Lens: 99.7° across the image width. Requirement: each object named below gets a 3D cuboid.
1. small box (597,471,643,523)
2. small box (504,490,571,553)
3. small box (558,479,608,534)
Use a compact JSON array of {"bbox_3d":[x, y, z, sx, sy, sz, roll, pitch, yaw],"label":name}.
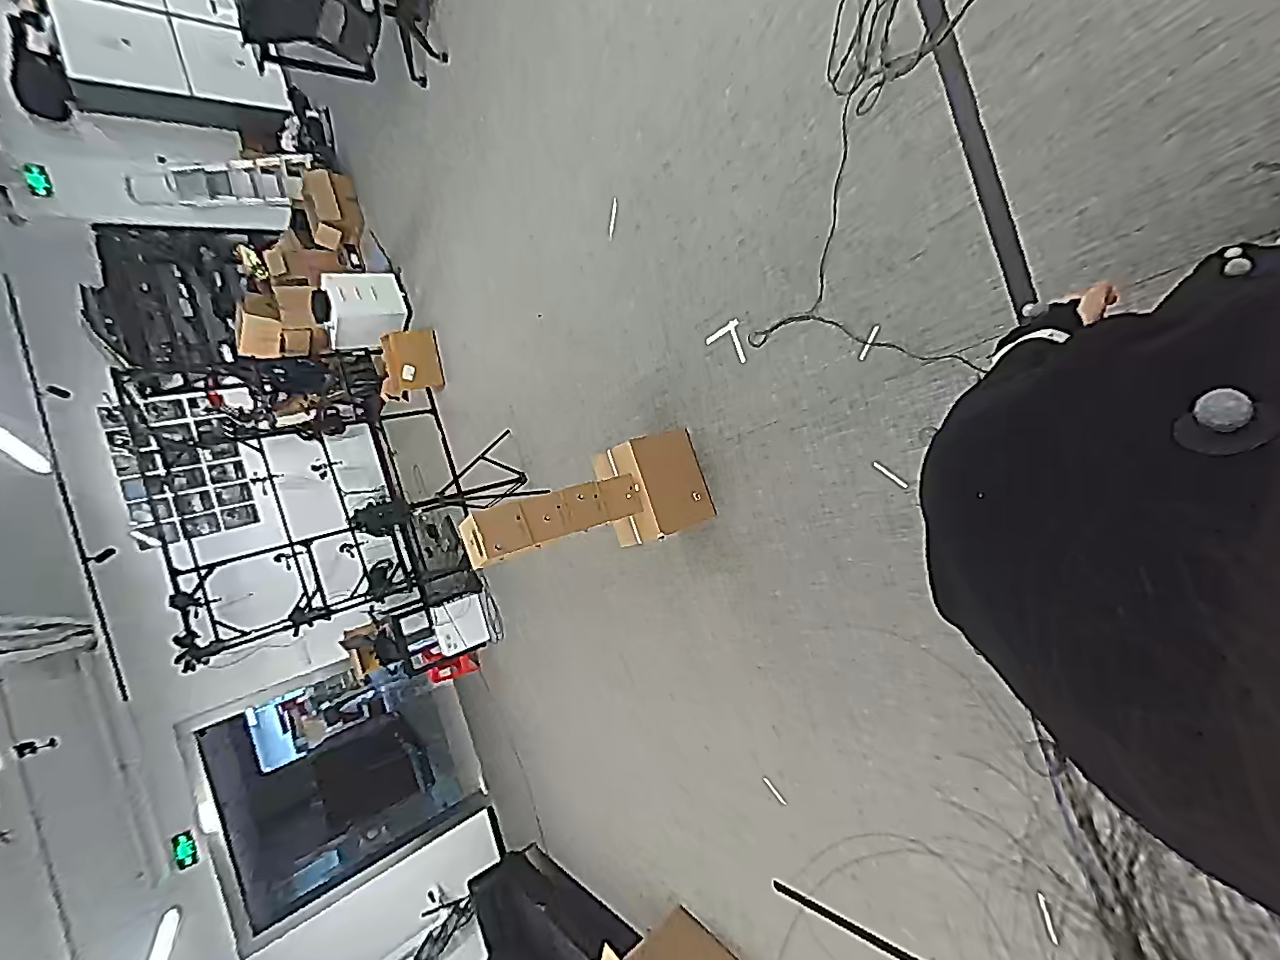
[{"bbox_3d":[-0.115,0.074,2.156,0.179,0.176,0.168,-23,85,53],"label":"small box"},{"bbox_3d":[-0.367,0.148,1.962,0.179,0.176,0.168,-32,76,52],"label":"small box"},{"bbox_3d":[-0.239,0.105,2.056,0.179,0.176,0.168,-26,81,54],"label":"small box"}]
